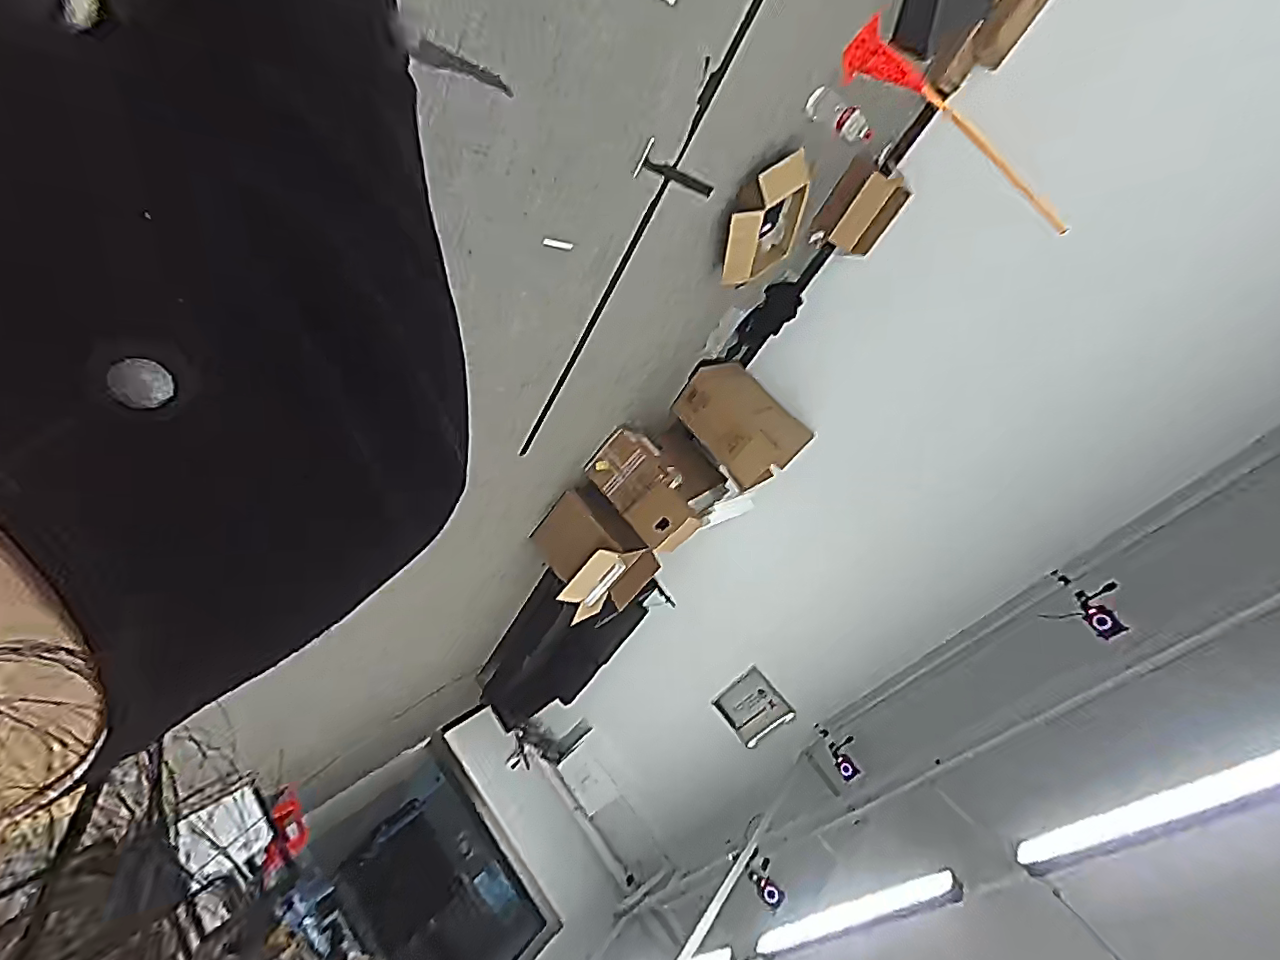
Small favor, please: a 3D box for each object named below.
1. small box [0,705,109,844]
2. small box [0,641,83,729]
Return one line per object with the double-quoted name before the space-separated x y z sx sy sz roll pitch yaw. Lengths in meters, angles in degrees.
"small box" -1.265 0.613 1.137 0.179 0.176 0.168 -51 161 28
"small box" -1.364 0.487 1.178 0.179 0.176 0.168 -17 151 -55
